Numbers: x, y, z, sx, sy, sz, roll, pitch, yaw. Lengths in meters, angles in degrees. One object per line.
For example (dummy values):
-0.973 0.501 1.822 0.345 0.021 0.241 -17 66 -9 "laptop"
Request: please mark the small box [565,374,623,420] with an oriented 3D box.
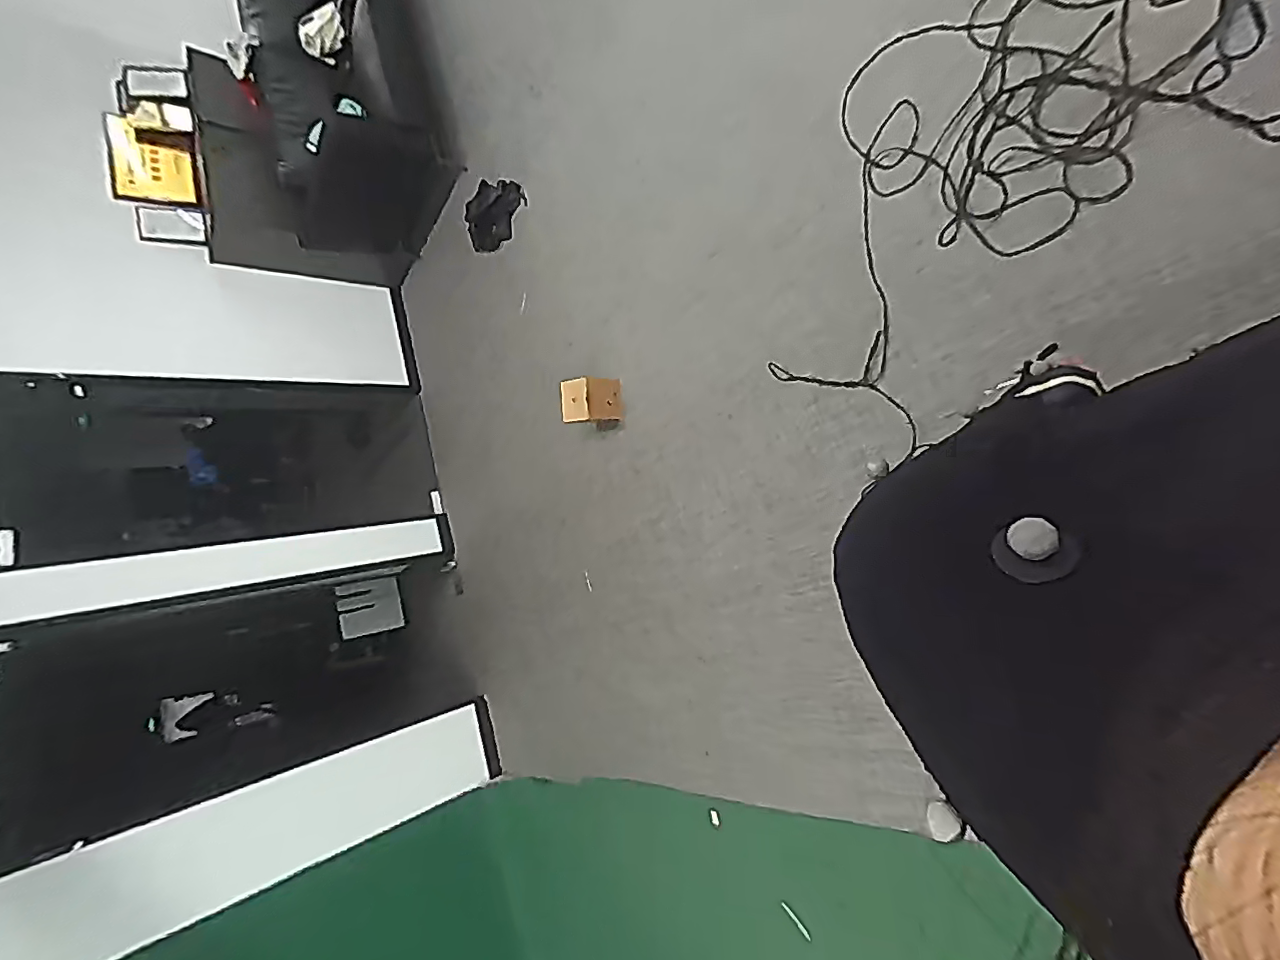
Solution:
-0.186 -0.331 2.190 0.179 0.176 0.168 1 95 49 "small box"
